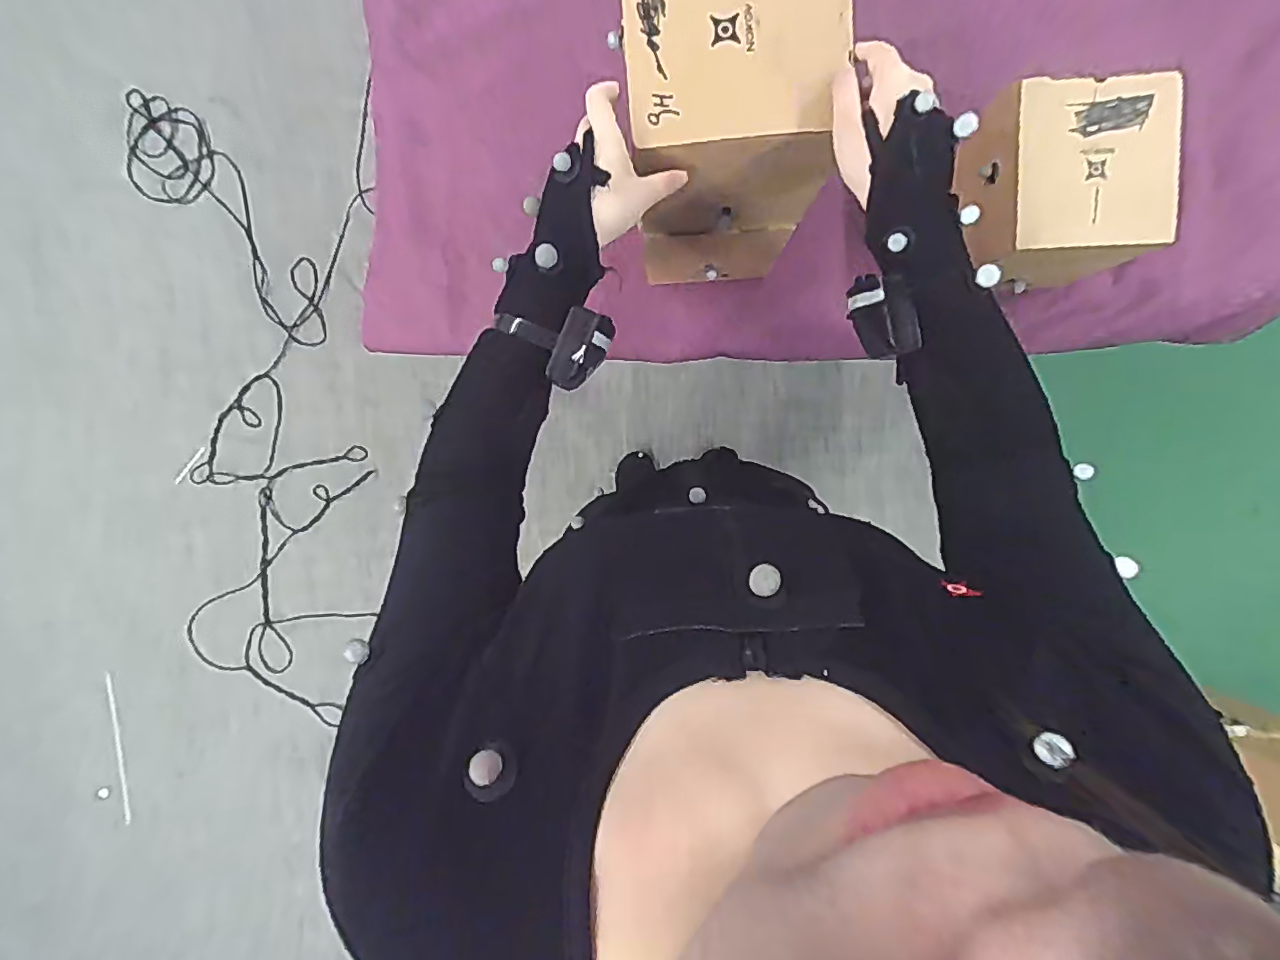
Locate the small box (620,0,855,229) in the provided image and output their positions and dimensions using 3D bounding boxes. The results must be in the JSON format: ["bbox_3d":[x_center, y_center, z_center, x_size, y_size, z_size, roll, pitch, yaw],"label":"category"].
[{"bbox_3d":[0.075,-0.346,0.488,0.179,0.176,0.168,-3,92,2],"label":"small box"}]

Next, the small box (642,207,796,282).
[{"bbox_3d":[0.084,-0.356,0.651,0.168,0.176,0.179,-3,93,3],"label":"small box"}]

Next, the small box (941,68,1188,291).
[{"bbox_3d":[0.478,-0.336,0.636,0.168,0.176,0.179,-1,94,3],"label":"small box"}]

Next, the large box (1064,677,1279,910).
[{"bbox_3d":[1.321,0.742,1.337,0.320,0.320,0.408,0,95,3],"label":"large box"}]

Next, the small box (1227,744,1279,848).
[{"bbox_3d":[1.361,0.654,1.085,0.179,0.176,0.168,0,95,2],"label":"small box"}]
